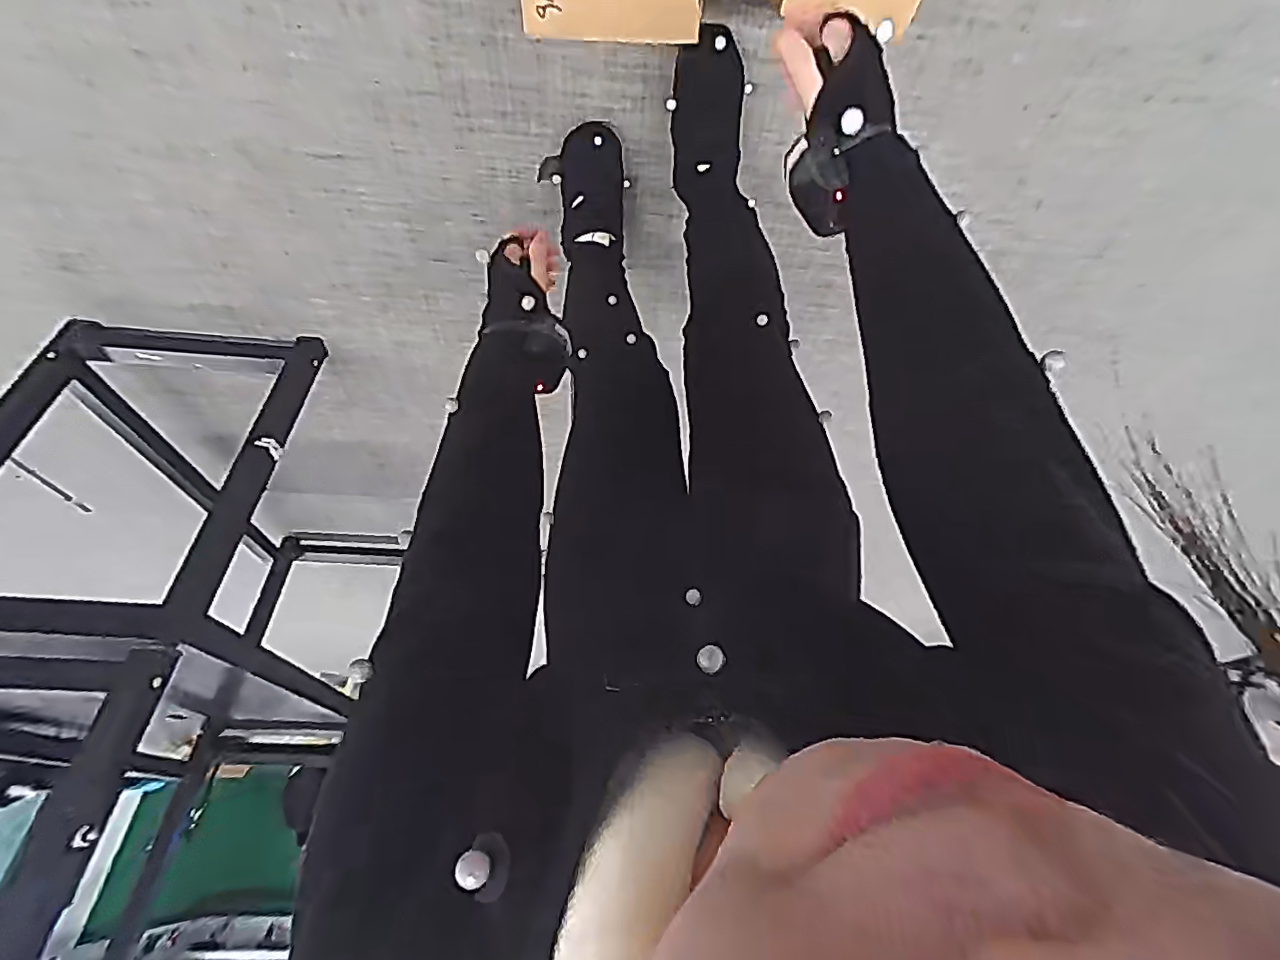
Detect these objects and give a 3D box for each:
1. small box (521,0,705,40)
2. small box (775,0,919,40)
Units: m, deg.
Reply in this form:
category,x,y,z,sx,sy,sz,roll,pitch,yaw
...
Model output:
category,x,y,z,sx,sy,sz,roll,pitch,yaw
small box,-0.025,-0.548,0.507,0.179,0.176,0.168,1,147,-3
small box,0.260,-0.668,0.630,0.168,0.176,0.179,5,147,-9
